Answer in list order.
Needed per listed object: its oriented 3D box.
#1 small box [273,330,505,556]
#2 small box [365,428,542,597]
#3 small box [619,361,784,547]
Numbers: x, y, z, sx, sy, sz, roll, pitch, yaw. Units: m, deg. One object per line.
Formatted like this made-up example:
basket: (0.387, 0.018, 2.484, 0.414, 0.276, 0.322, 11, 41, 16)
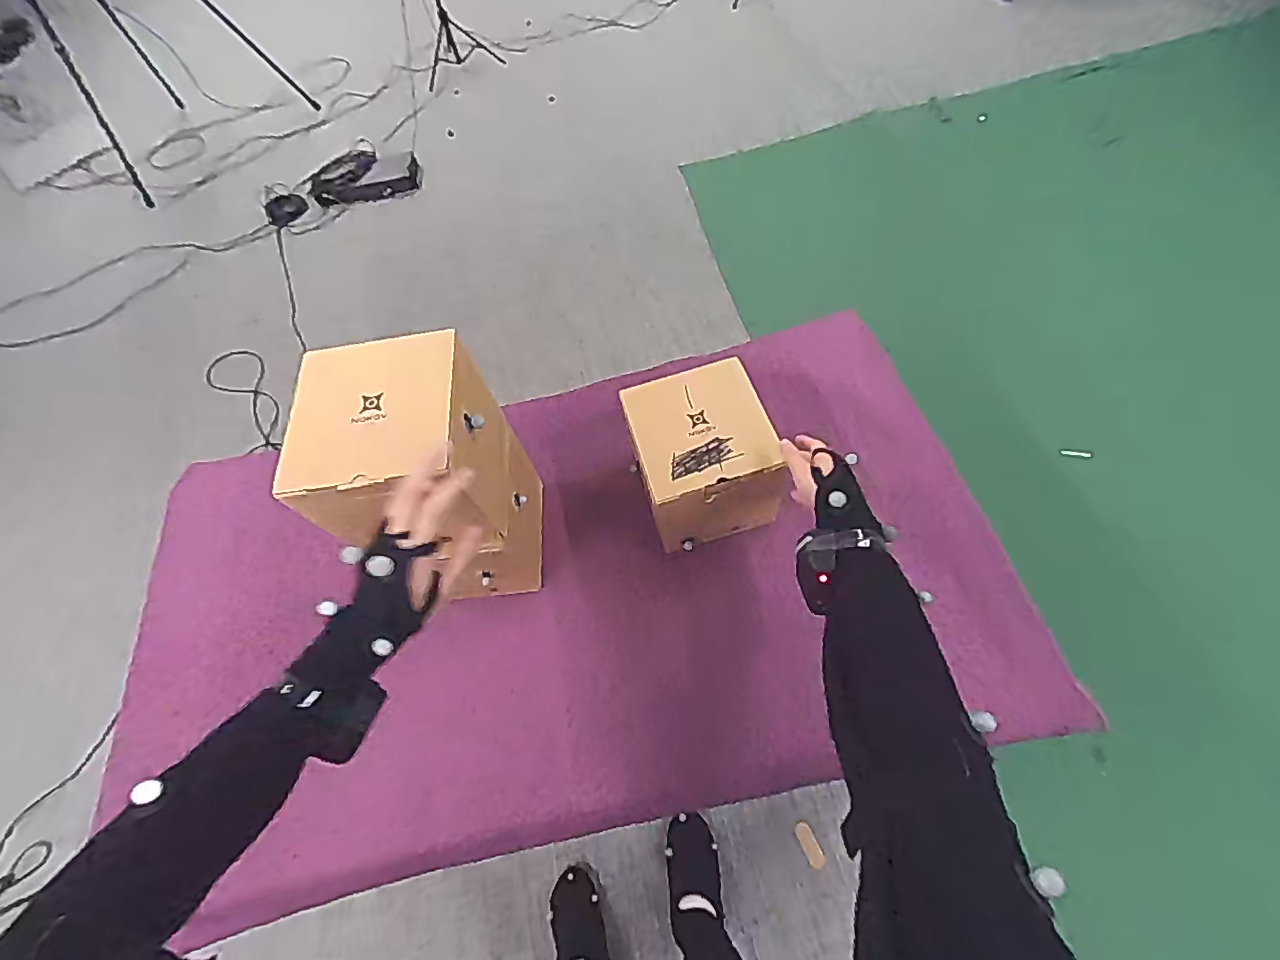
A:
small box: (-0.254, -0.034, 0.596, 0.168, 0.176, 0.179, -8, 62, 1)
small box: (-0.235, 0.053, 0.732, 0.168, 0.176, 0.179, -5, 61, 4)
small box: (0.081, -0.024, 0.733, 0.168, 0.176, 0.179, -16, 59, -2)
